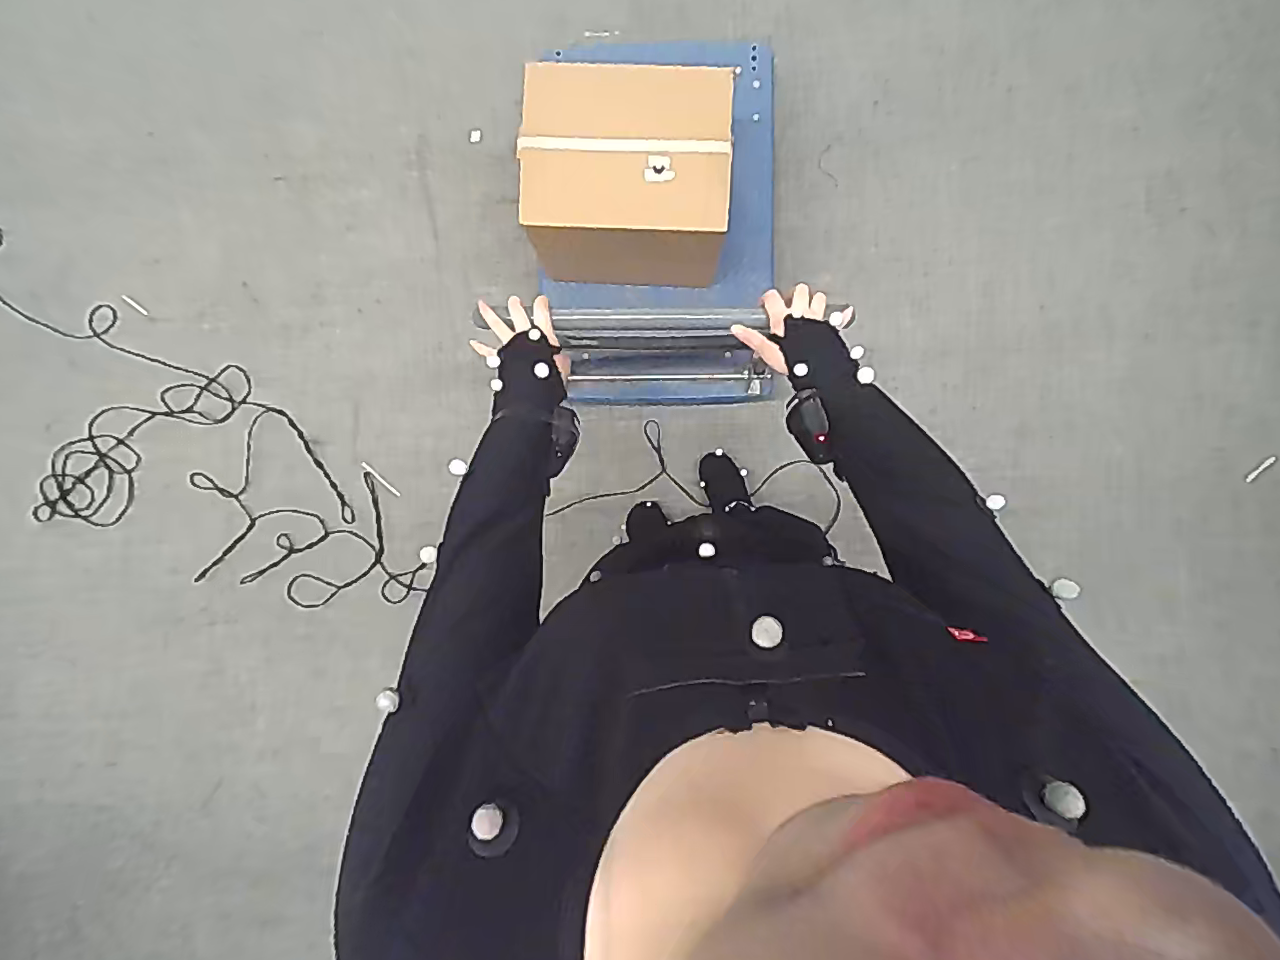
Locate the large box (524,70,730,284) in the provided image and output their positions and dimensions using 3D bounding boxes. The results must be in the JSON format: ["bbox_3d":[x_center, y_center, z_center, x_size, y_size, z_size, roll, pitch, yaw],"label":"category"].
[{"bbox_3d":[-0.026,-0.644,1.202,0.408,0.320,0.320,2,91,1],"label":"large box"}]
